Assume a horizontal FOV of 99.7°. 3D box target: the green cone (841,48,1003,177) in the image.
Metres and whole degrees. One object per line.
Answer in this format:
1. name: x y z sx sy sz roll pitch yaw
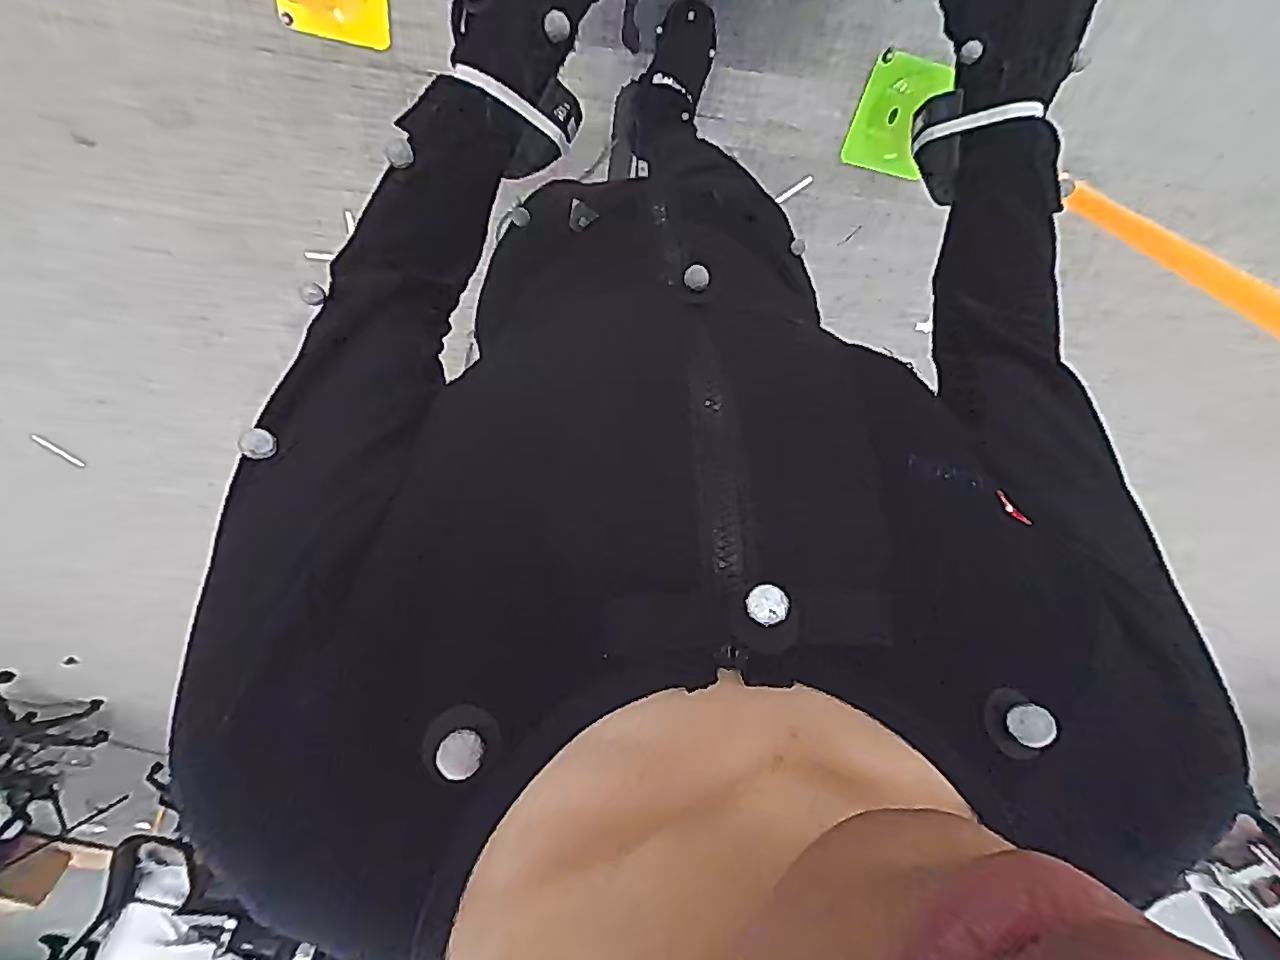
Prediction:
1. green cone: 0.552 -0.654 1.007 0.202 0.368 0.200 8 130 -9
